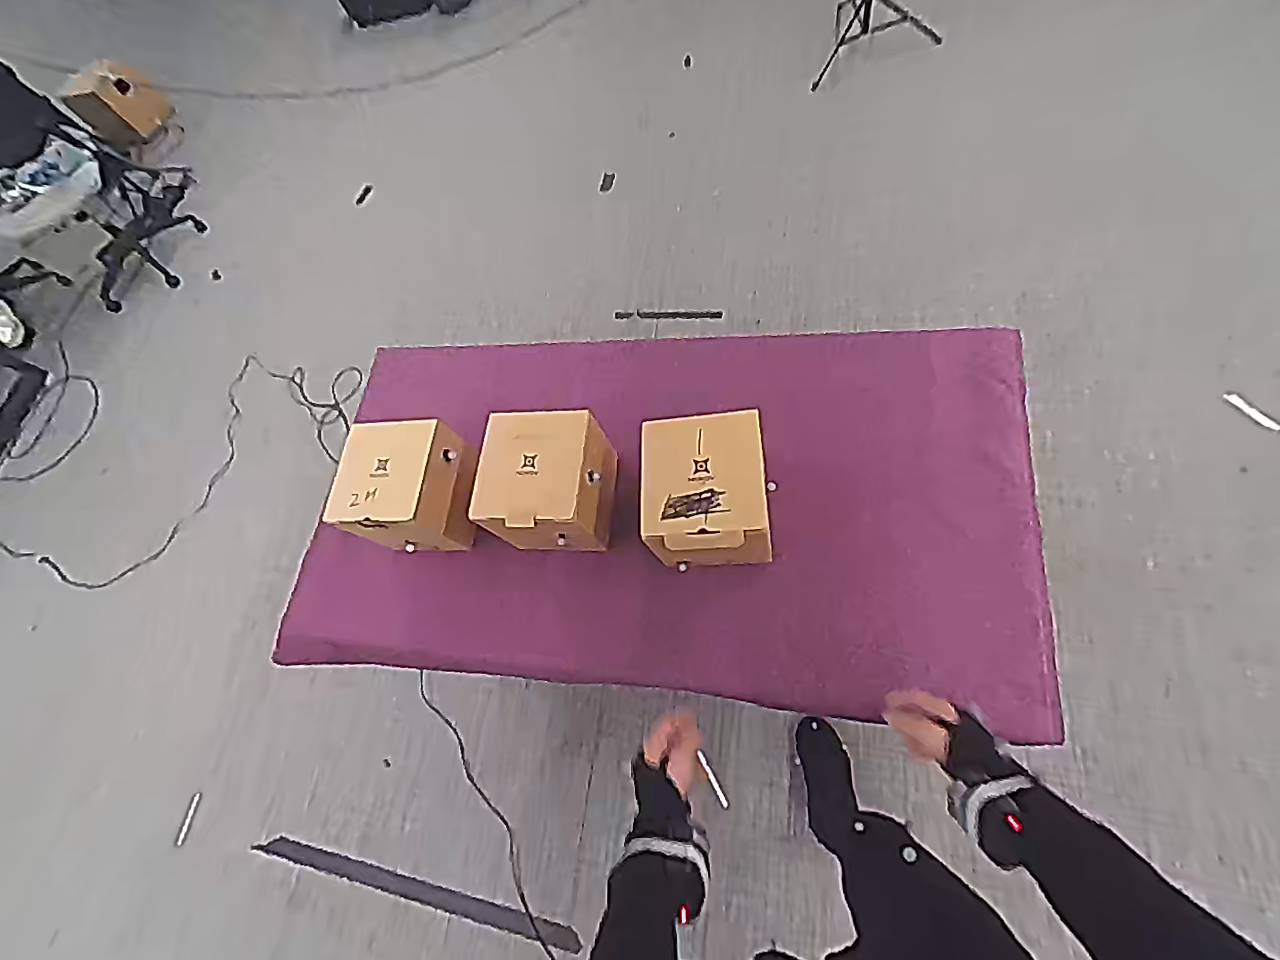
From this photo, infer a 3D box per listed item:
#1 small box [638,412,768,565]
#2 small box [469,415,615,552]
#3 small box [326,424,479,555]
[{"bbox_3d":[0.097,0.023,0.796,0.168,0.176,0.179,-5,66,13],"label":"small box"},{"bbox_3d":[-0.145,0.012,0.868,0.168,0.176,0.179,0,68,15],"label":"small box"},{"bbox_3d":[-0.389,0.021,0.928,0.168,0.176,0.179,-2,68,15],"label":"small box"}]
